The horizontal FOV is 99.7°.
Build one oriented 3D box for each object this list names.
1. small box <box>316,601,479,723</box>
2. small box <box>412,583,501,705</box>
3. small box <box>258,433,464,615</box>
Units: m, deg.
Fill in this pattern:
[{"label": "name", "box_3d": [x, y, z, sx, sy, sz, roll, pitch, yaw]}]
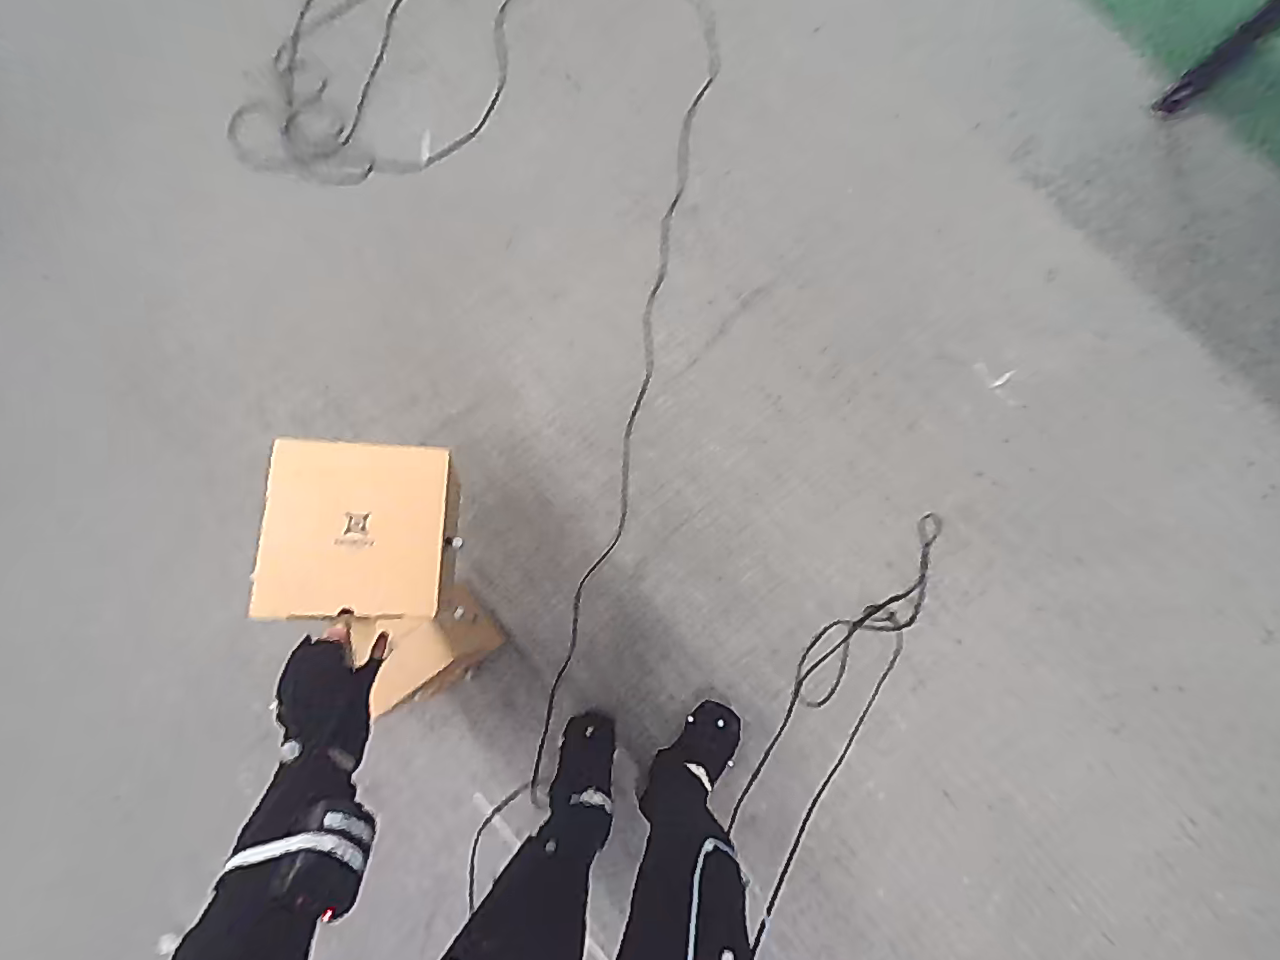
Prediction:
[{"label": "small box", "box_3d": [-0.421, 0.295, 0.968, 0.179, 0.176, 0.168, -36, 82, -7]}, {"label": "small box", "box_3d": [-0.417, 0.328, 1.129, 0.168, 0.176, 0.179, -38, 83, -7]}, {"label": "small box", "box_3d": [-0.293, 0.058, 0.609, 0.168, 0.176, 0.179, 4, 79, -14]}]
